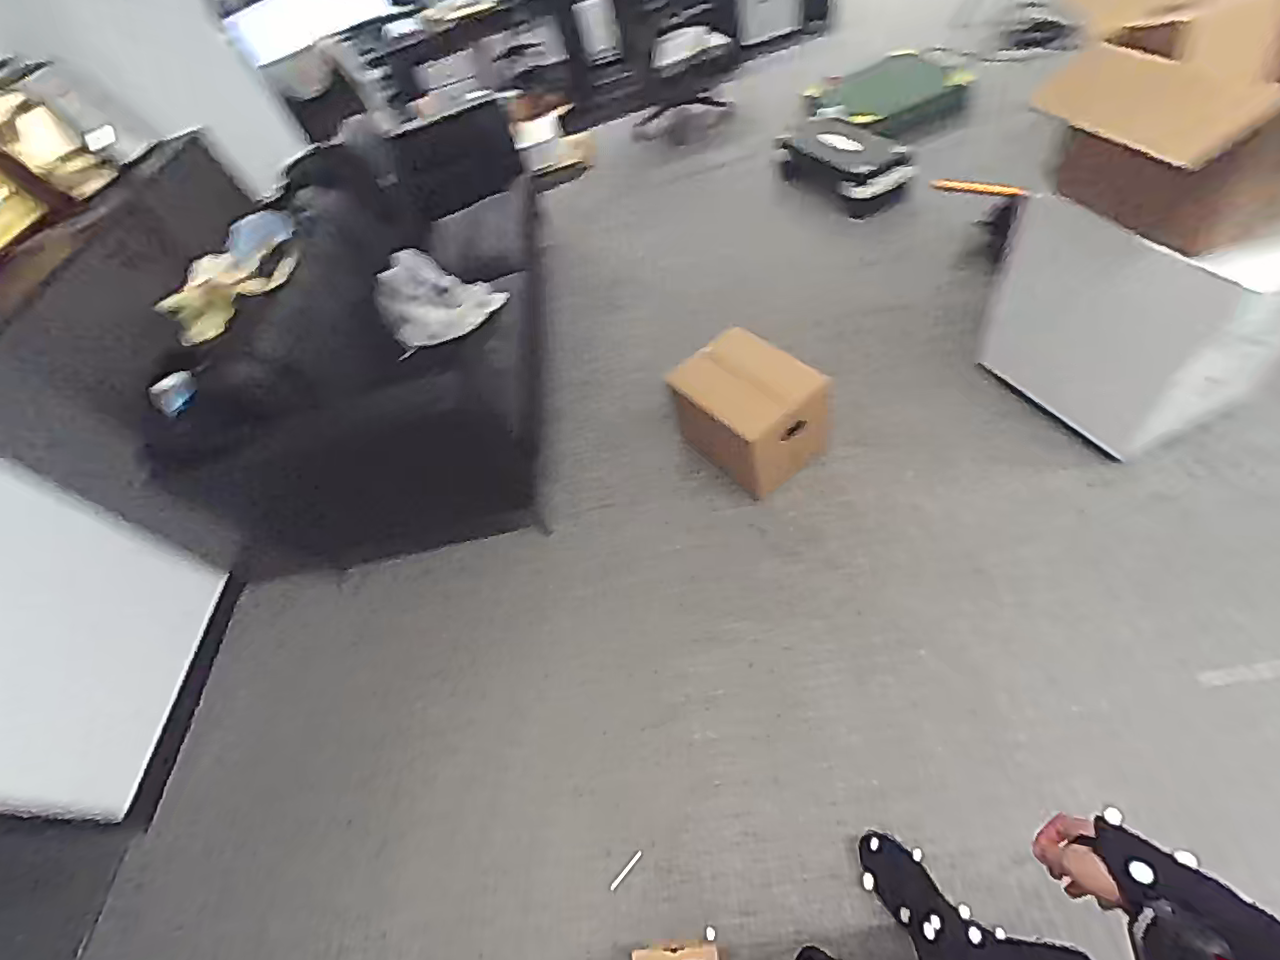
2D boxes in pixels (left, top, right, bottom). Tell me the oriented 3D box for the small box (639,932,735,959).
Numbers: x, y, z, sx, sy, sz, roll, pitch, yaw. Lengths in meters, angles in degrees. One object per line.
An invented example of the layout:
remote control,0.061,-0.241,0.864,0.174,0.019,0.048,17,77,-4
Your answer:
small box,0.100,0.993,1.044,0.168,0.176,0.179,-13,53,10
